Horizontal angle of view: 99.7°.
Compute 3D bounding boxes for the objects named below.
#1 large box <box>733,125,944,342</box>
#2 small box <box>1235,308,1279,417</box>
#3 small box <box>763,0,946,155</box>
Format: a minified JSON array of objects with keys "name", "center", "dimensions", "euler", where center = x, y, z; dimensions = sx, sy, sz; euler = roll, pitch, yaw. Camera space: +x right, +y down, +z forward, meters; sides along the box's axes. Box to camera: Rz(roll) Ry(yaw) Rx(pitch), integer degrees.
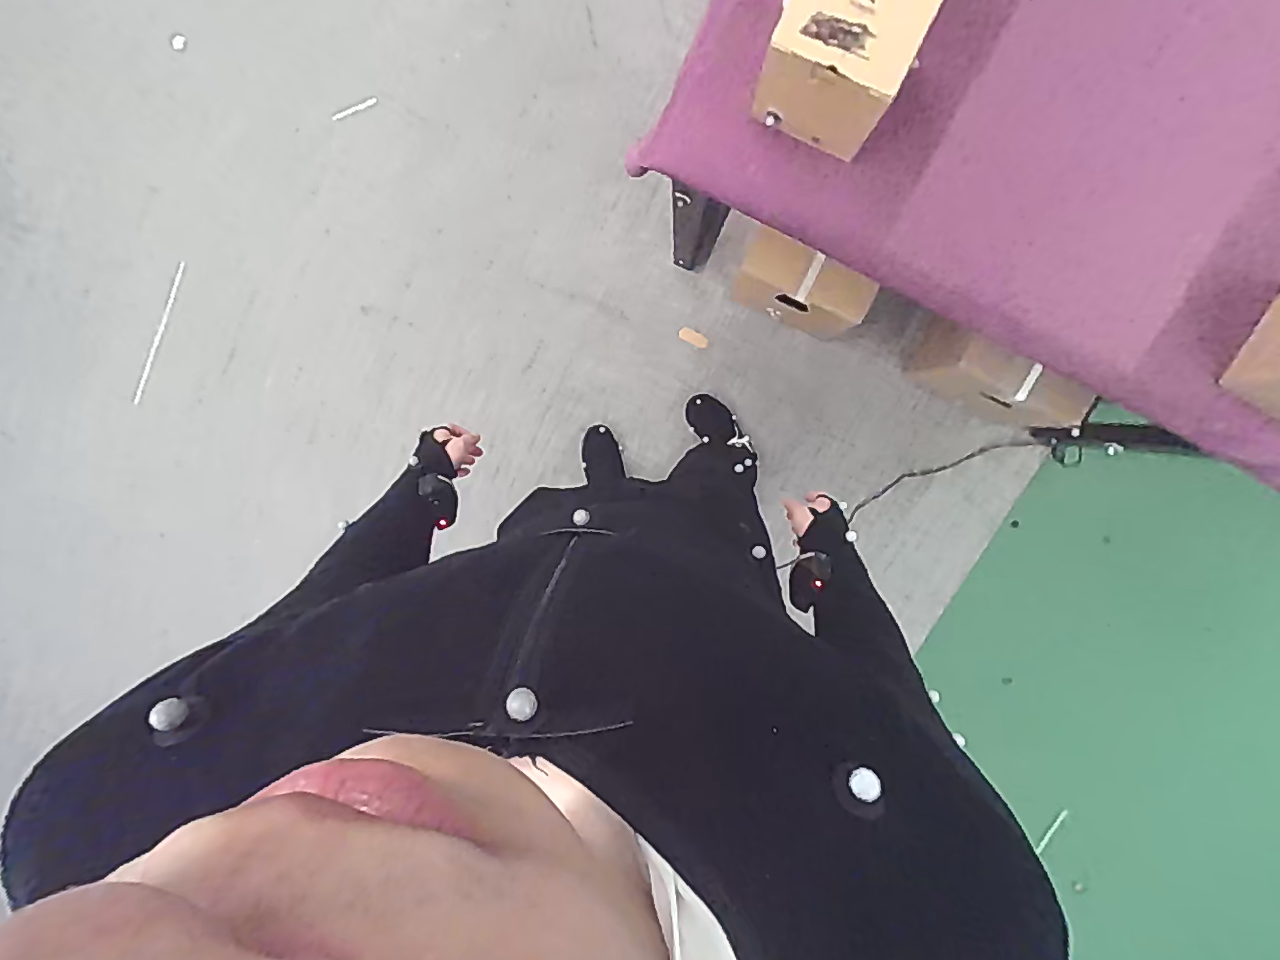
[{"name":"large box","center":[0.466,-0.612,1.365],"dimensions":[0.320,0.320,0.408],"euler":[25,97,0]},{"name":"small box","center":[0.974,-0.168,0.712],"dimensions":[0.168,0.176,0.179],"euler":[30,96,2]},{"name":"small box","center":[0.276,-0.575,0.714],"dimensions":[0.168,0.176,0.179],"euler":[26,97,0]}]
